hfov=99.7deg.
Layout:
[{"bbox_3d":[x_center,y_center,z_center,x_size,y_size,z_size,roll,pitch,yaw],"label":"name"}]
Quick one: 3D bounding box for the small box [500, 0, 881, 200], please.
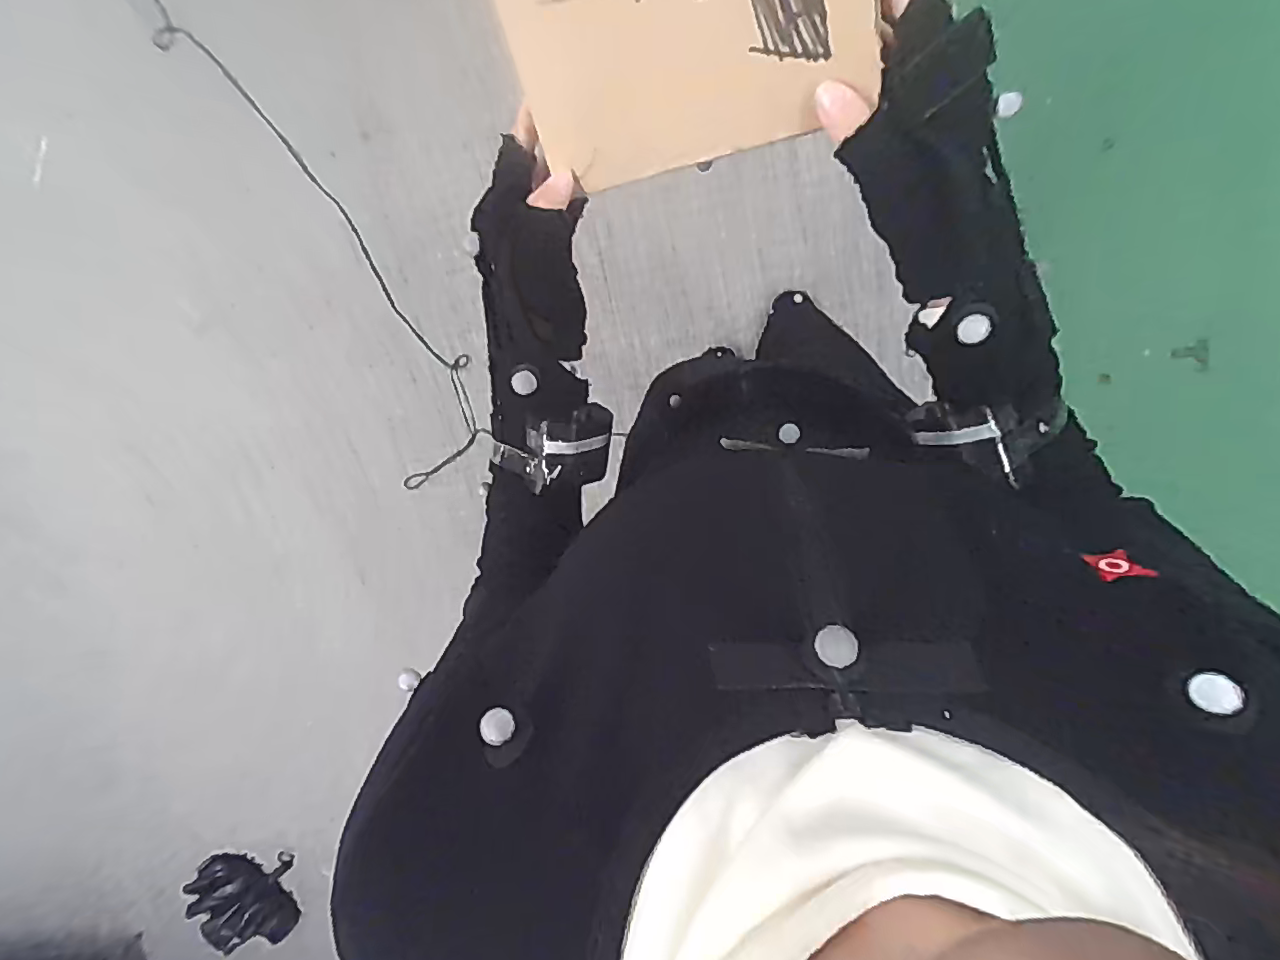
[{"bbox_3d":[0.029,-0.287,0.307,0.179,0.176,0.168,-6,128,17],"label":"small box"}]
